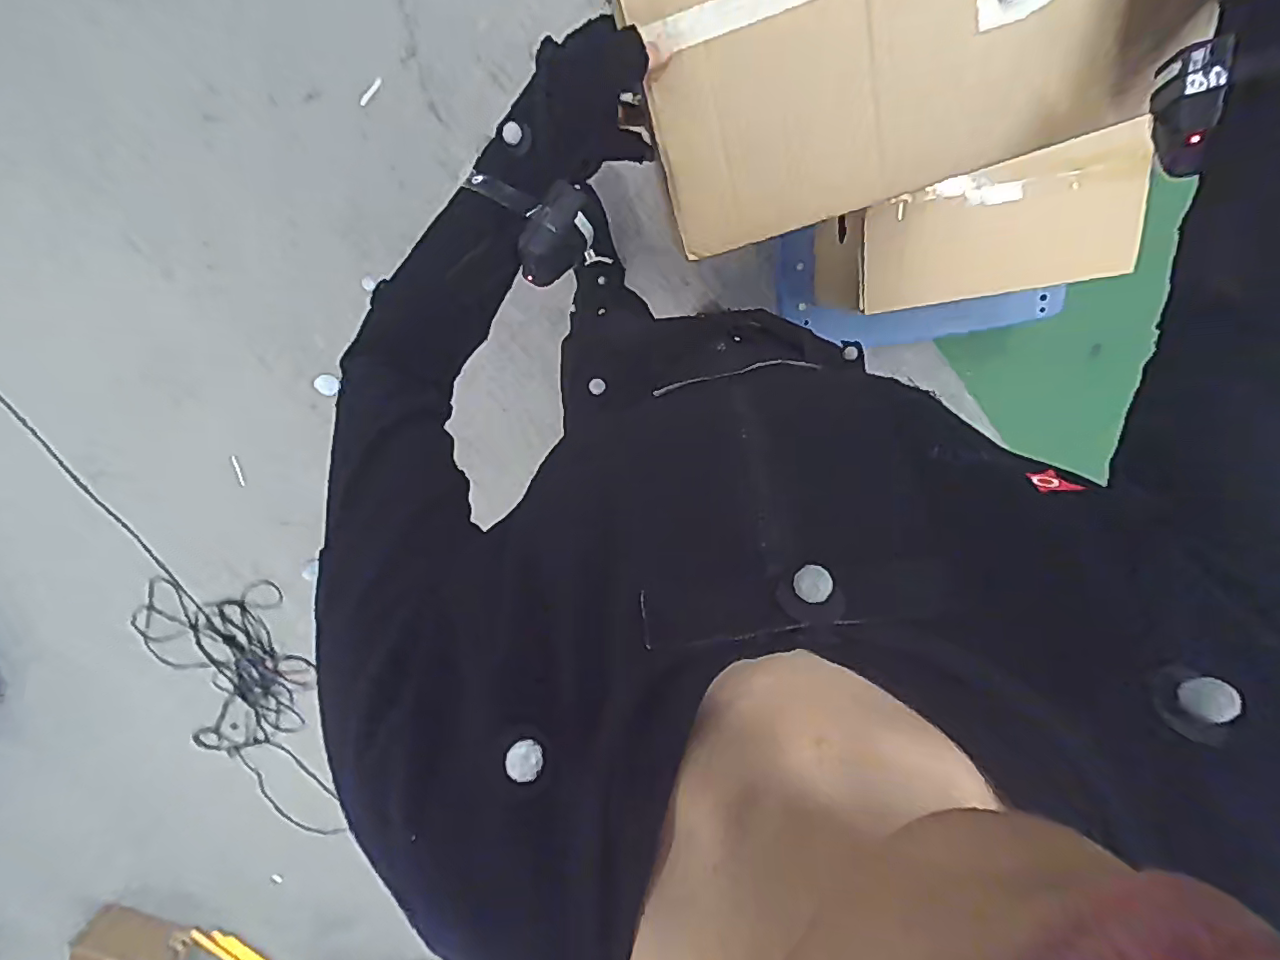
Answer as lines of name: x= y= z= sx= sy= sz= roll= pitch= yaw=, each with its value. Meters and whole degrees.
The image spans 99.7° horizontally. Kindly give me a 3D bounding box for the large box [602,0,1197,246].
large box: x=0.179 y=-0.444 z=0.507 sx=0.408 sy=0.320 sz=0.320 roll=-15 pitch=115 yaw=7
